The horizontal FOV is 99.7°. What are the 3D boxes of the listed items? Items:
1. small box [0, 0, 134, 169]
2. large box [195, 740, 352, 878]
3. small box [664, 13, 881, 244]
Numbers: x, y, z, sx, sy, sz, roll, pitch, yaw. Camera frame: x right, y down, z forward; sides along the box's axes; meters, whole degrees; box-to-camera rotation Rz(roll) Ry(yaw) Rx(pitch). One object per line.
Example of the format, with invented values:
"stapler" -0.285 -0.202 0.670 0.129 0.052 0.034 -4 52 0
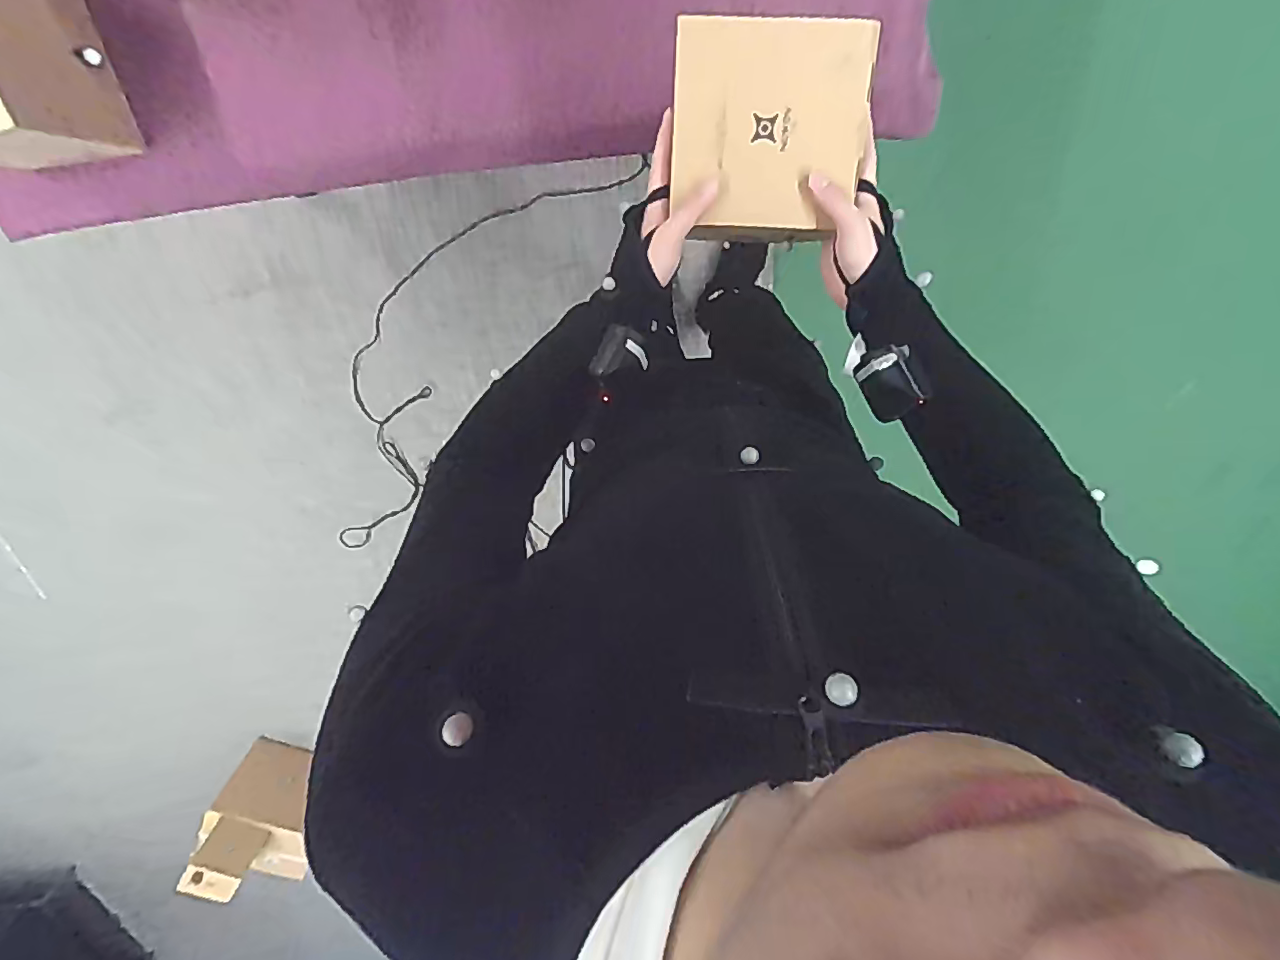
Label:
"small box" -0.709 -0.442 0.565 0.168 0.176 0.179 -7 115 2
"large box" -1.449 1.308 2.161 0.408 0.320 0.320 23 115 -14
"small box" 0.117 -0.342 0.560 0.179 0.176 0.168 3 109 2
